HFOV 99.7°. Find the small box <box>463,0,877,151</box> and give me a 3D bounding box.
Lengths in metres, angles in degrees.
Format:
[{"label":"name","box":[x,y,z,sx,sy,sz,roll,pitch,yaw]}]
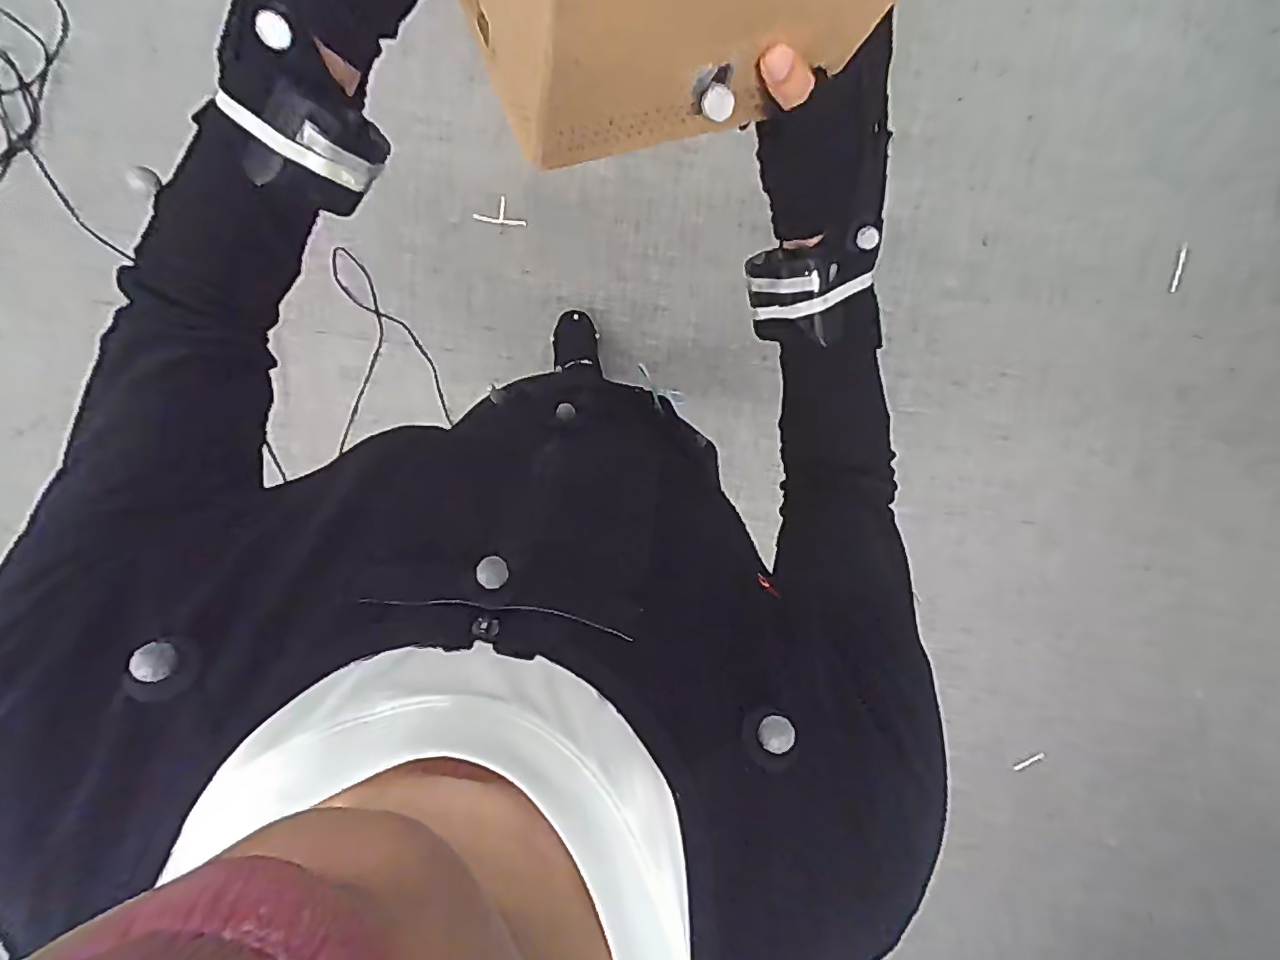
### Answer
[{"label":"small box","box":[0.015,-0.265,0.204,0.179,0.176,0.168,-23,94,-16]}]
